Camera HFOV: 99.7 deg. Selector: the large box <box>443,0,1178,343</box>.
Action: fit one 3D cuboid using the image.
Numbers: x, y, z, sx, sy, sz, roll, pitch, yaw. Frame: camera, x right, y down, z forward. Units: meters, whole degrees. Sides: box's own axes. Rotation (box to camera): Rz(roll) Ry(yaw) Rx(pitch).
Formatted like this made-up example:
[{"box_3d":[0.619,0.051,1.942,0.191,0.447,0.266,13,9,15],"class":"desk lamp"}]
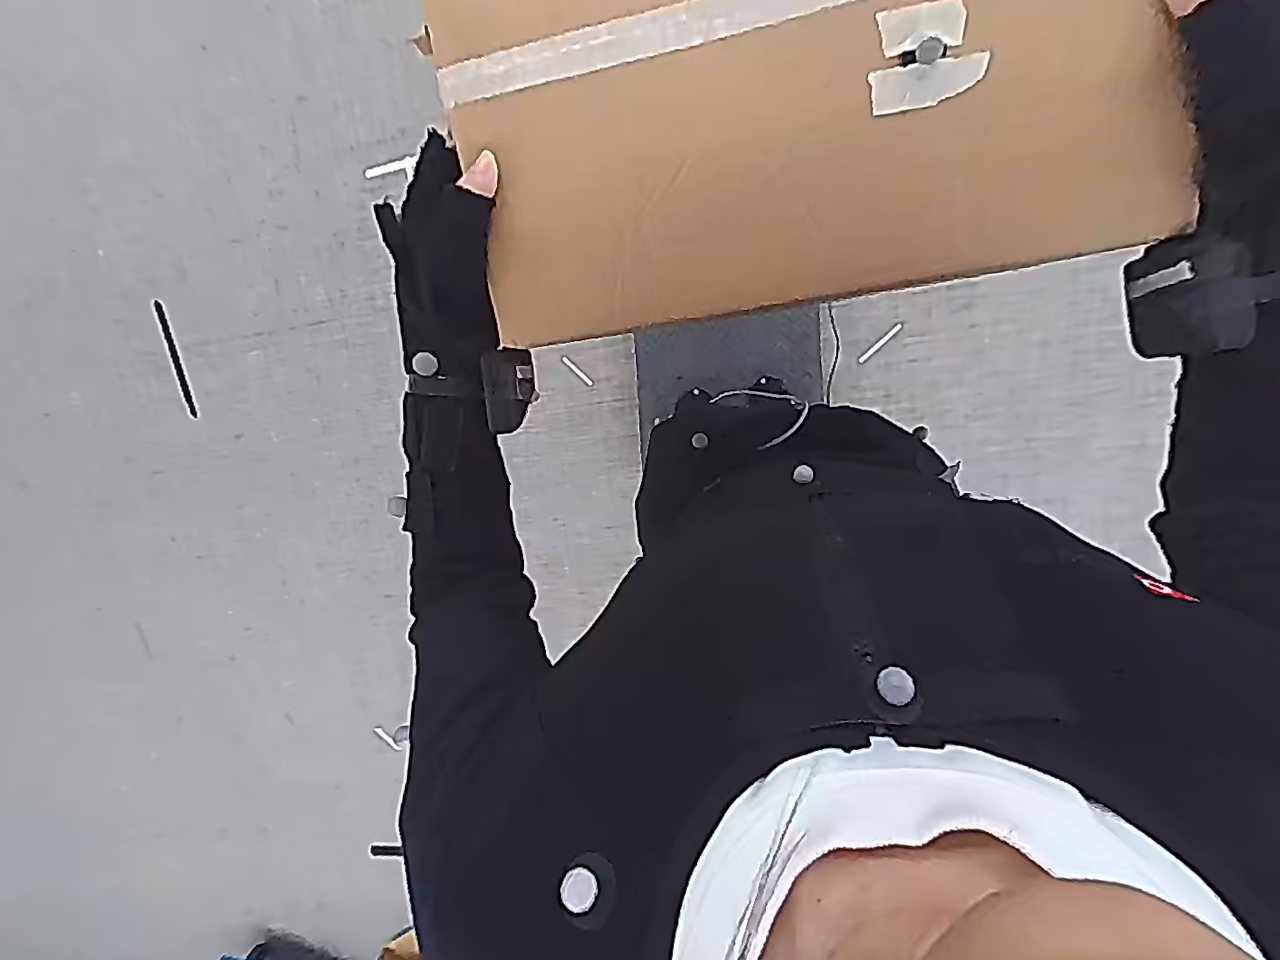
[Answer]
[{"box_3d":[0.099,-0.308,0.450,0.408,0.320,0.320,-7,105,10],"class":"large box"}]
